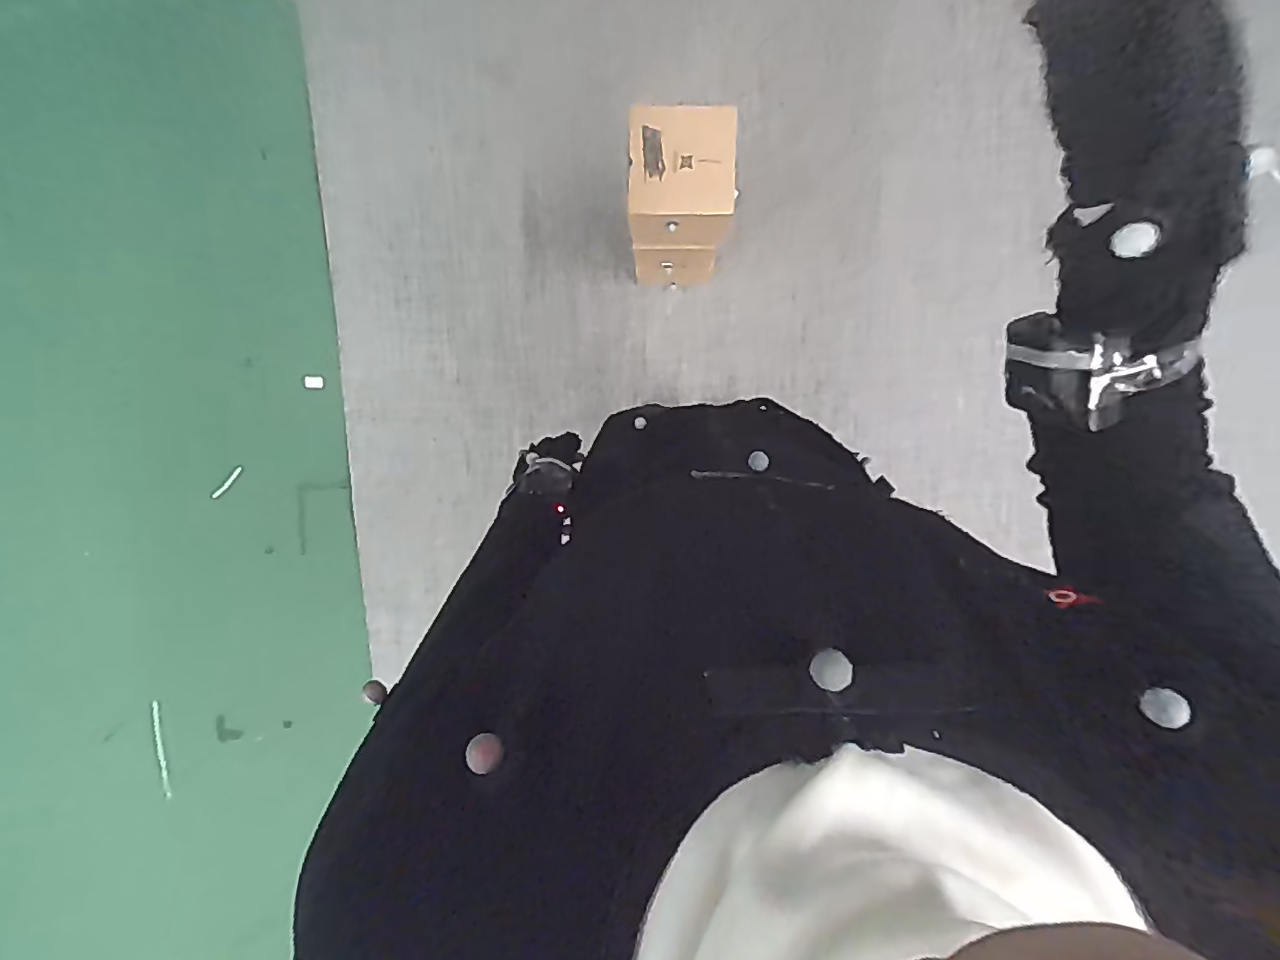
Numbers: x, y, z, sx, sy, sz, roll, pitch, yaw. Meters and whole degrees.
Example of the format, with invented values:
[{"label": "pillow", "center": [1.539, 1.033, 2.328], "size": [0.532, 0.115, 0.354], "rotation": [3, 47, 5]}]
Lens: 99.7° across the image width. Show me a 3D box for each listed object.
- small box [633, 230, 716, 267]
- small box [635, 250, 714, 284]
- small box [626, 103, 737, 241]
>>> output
[{"label": "small box", "center": [0.073, -0.552, 1.117], "size": [0.168, 0.176, 0.179], "rotation": [1, 98, 4]}, {"label": "small box", "center": [0.081, -0.568, 1.278], "size": [0.179, 0.176, 0.168], "rotation": [2, 98, 2]}, {"label": "small box", "center": [0.071, -0.531, 0.953], "size": [0.179, 0.176, 0.168], "rotation": [2, 98, 3]}]
